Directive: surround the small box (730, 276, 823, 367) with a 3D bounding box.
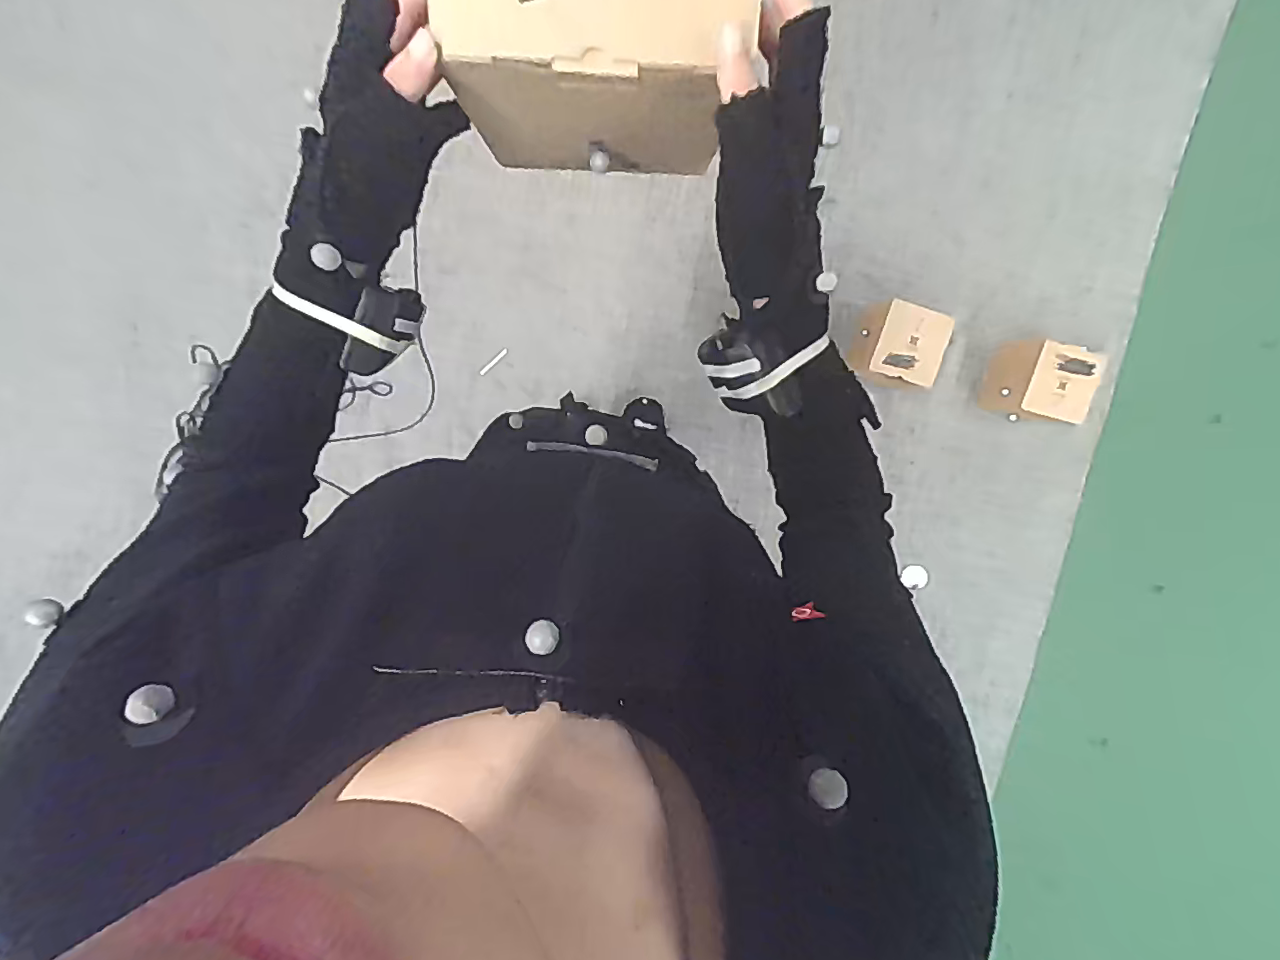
[{"bbox_3d":[0.329,-0.384,1.341,0.168,0.176,0.179,10,99,-2],"label":"small box"}]

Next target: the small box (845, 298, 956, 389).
[{"bbox_3d":[0.639,-0.332,1.353,0.168,0.176,0.179,17,97,-4],"label":"small box"}]
